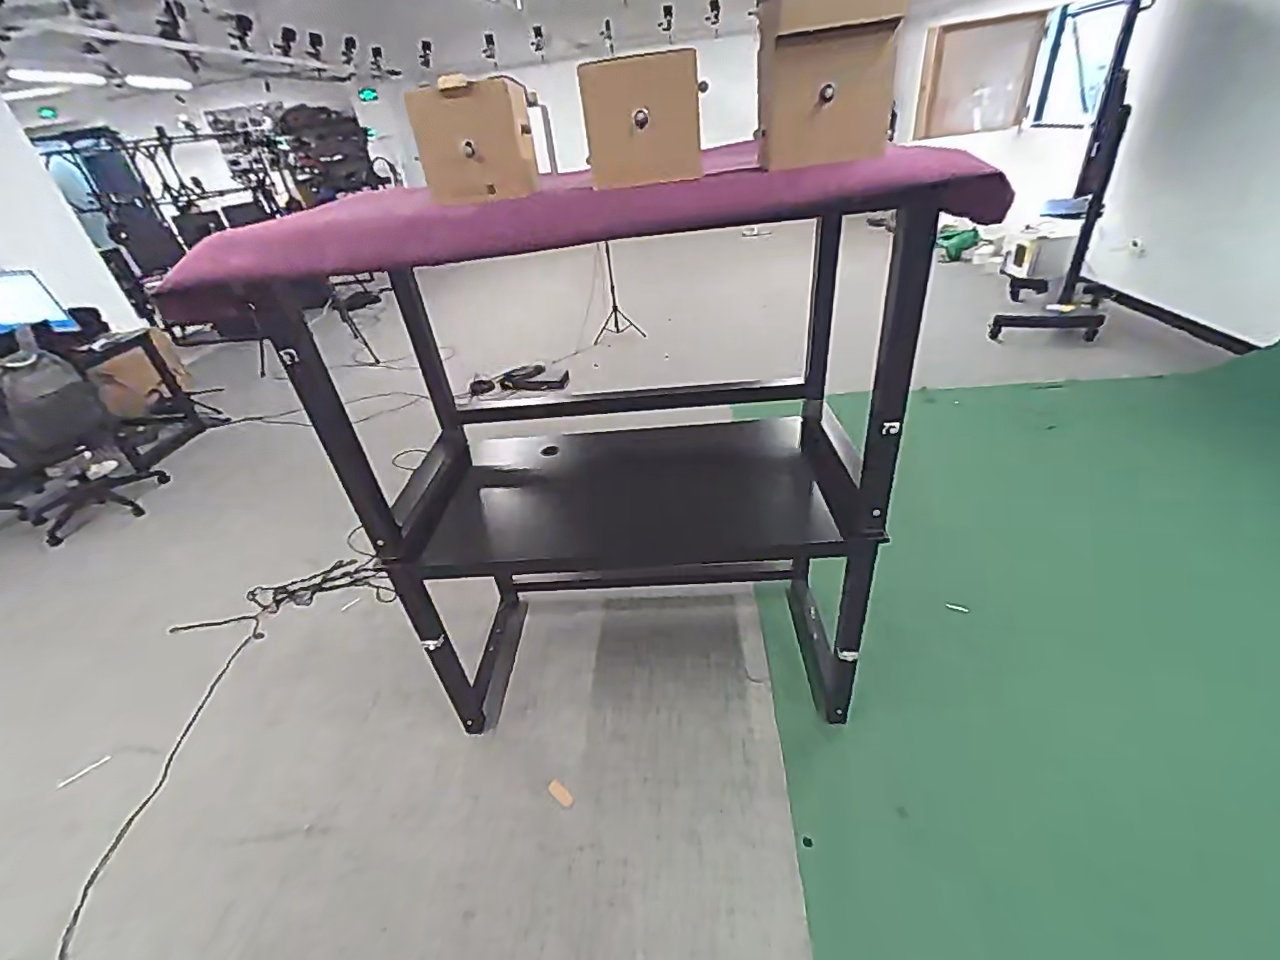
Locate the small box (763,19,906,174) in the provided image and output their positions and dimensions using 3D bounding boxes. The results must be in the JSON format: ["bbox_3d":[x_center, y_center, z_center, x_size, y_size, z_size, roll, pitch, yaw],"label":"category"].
[{"bbox_3d":[0.291,-0.597,0.854,0.179,0.176,0.168,-4,33,7],"label":"small box"}]

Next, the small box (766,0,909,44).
[{"bbox_3d":[0.274,-0.721,0.746,0.179,0.176,0.168,-4,33,6],"label":"small box"}]

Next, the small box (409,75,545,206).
[{"bbox_3d":[-0.266,-0.579,0.934,0.168,0.176,0.179,-5,33,2],"label":"small box"}]
